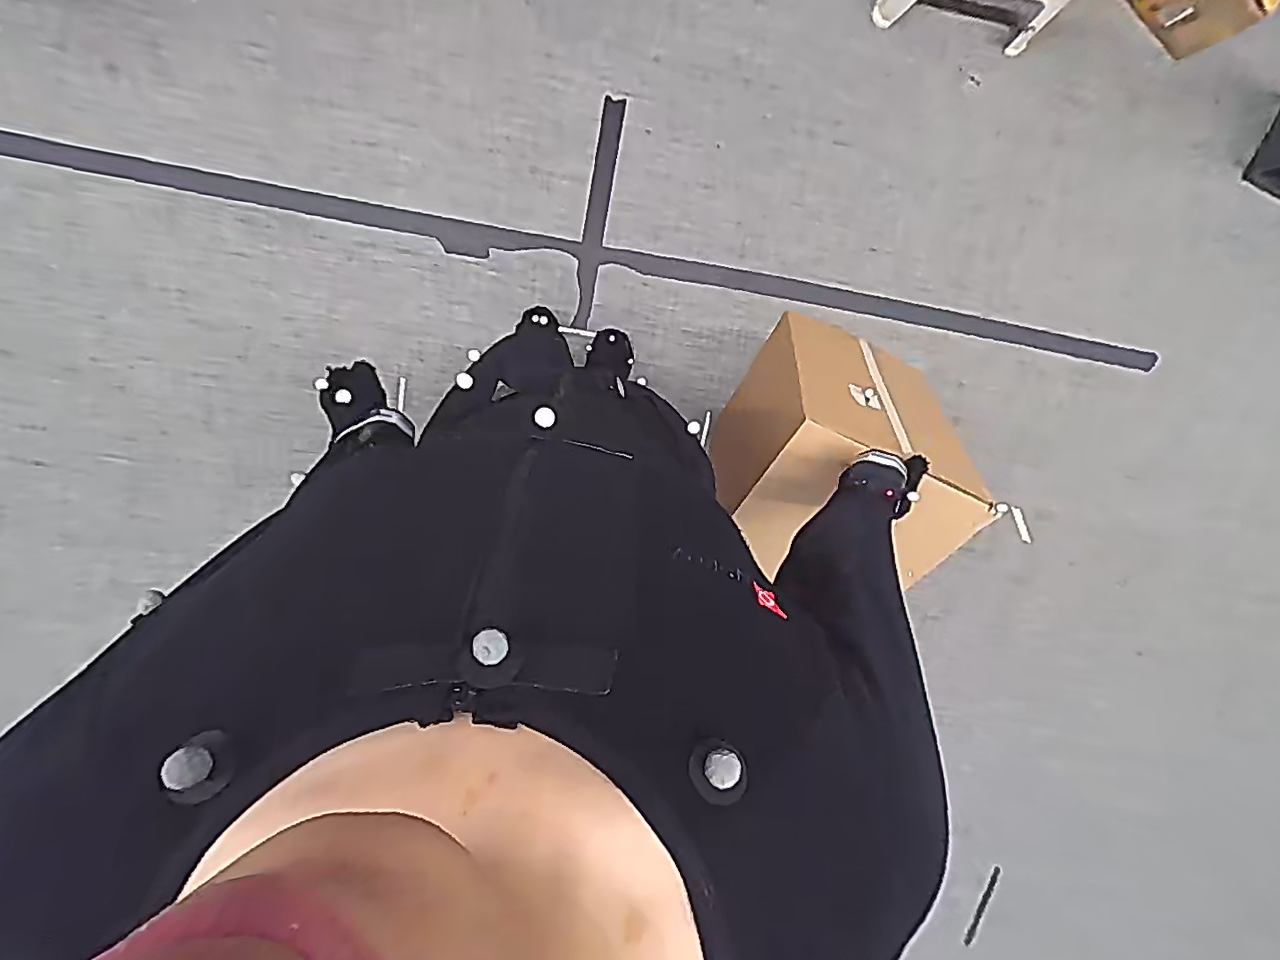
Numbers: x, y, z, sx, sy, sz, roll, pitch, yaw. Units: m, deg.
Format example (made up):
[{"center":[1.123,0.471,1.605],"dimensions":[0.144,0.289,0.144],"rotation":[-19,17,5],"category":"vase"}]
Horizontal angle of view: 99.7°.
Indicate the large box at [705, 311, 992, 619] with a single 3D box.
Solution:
[{"center":[0.329,-0.034,0.980],"dimensions":[0.320,0.408,0.320],"rotation":[23,130,-8],"category":"large box"}]
